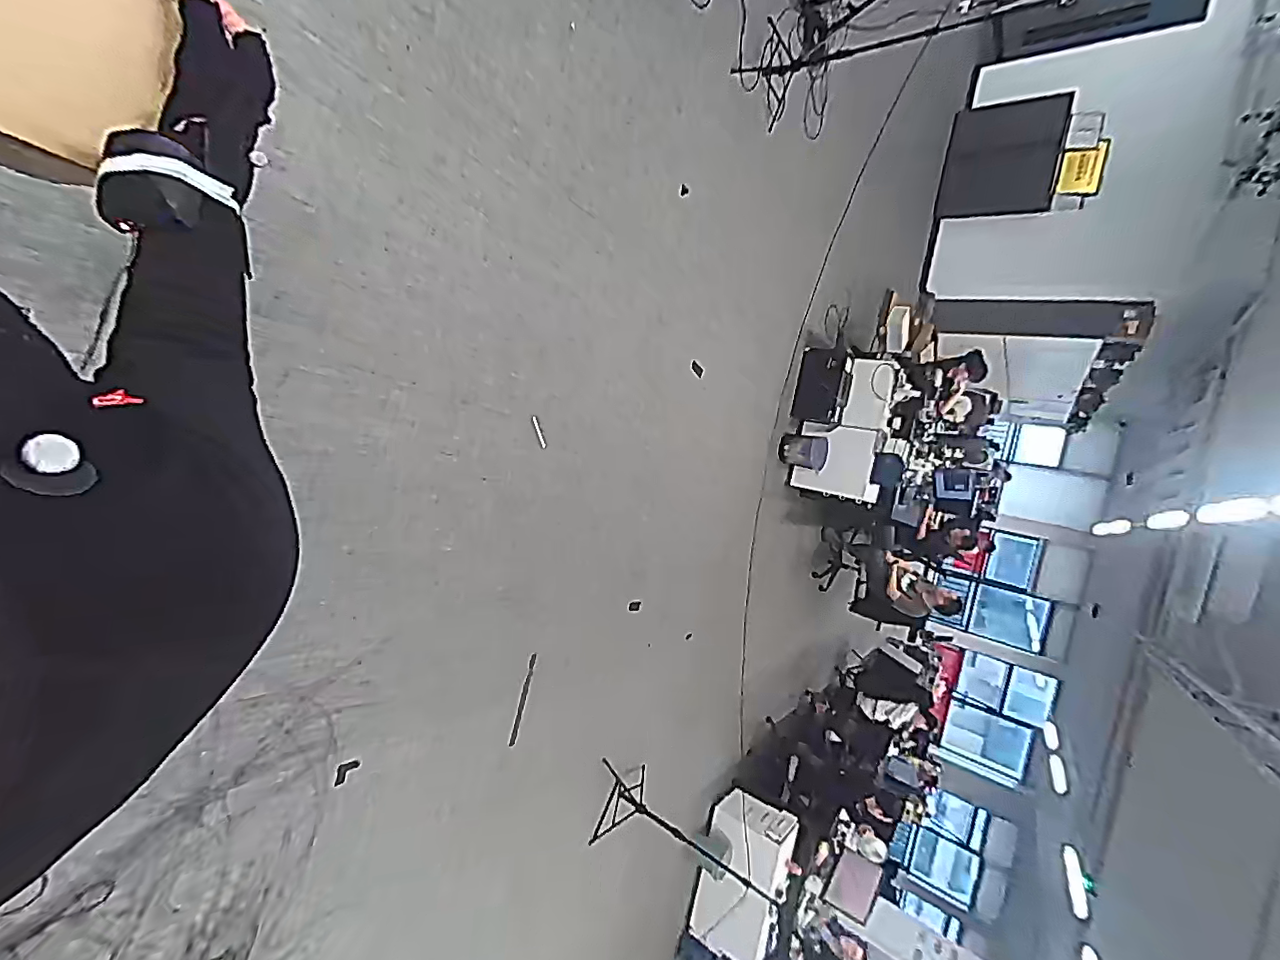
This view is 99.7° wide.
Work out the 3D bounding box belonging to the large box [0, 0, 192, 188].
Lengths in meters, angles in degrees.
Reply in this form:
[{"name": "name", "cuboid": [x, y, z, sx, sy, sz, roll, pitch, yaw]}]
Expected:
[{"name": "large box", "cuboid": [-0.592, -0.446, 0.345, 0.408, 0.320, 0.320, 8, 102, -61]}]
